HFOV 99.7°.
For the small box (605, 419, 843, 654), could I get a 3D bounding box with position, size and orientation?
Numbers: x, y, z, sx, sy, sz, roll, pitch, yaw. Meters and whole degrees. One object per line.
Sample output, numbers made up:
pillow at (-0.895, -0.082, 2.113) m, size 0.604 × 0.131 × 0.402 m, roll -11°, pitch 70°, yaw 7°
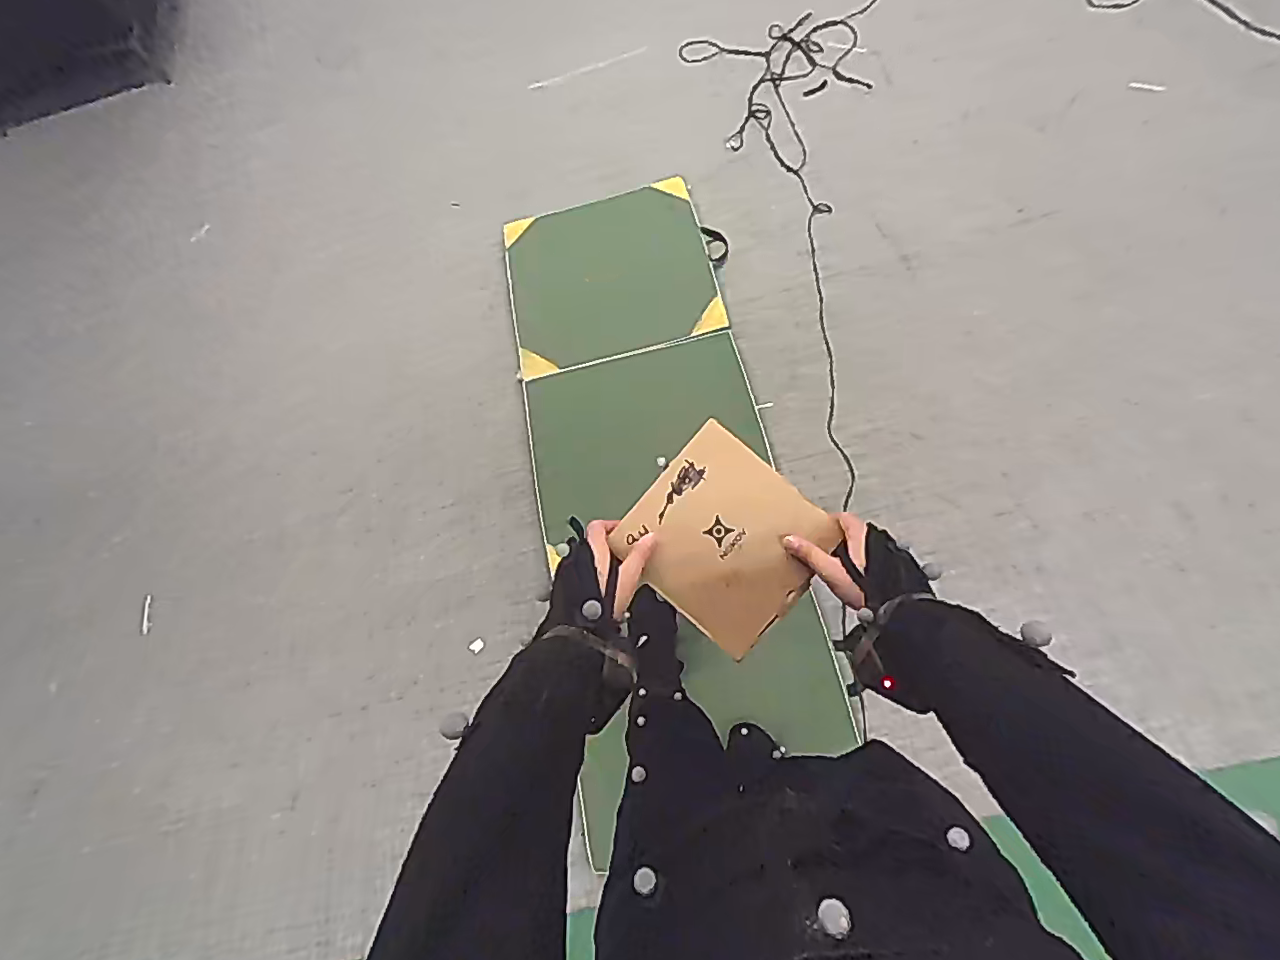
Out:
small box at (0.085, 0.058, 0.608) m, size 0.179 × 0.176 × 0.168 m, roll 42°, pitch 88°, yaw 5°
